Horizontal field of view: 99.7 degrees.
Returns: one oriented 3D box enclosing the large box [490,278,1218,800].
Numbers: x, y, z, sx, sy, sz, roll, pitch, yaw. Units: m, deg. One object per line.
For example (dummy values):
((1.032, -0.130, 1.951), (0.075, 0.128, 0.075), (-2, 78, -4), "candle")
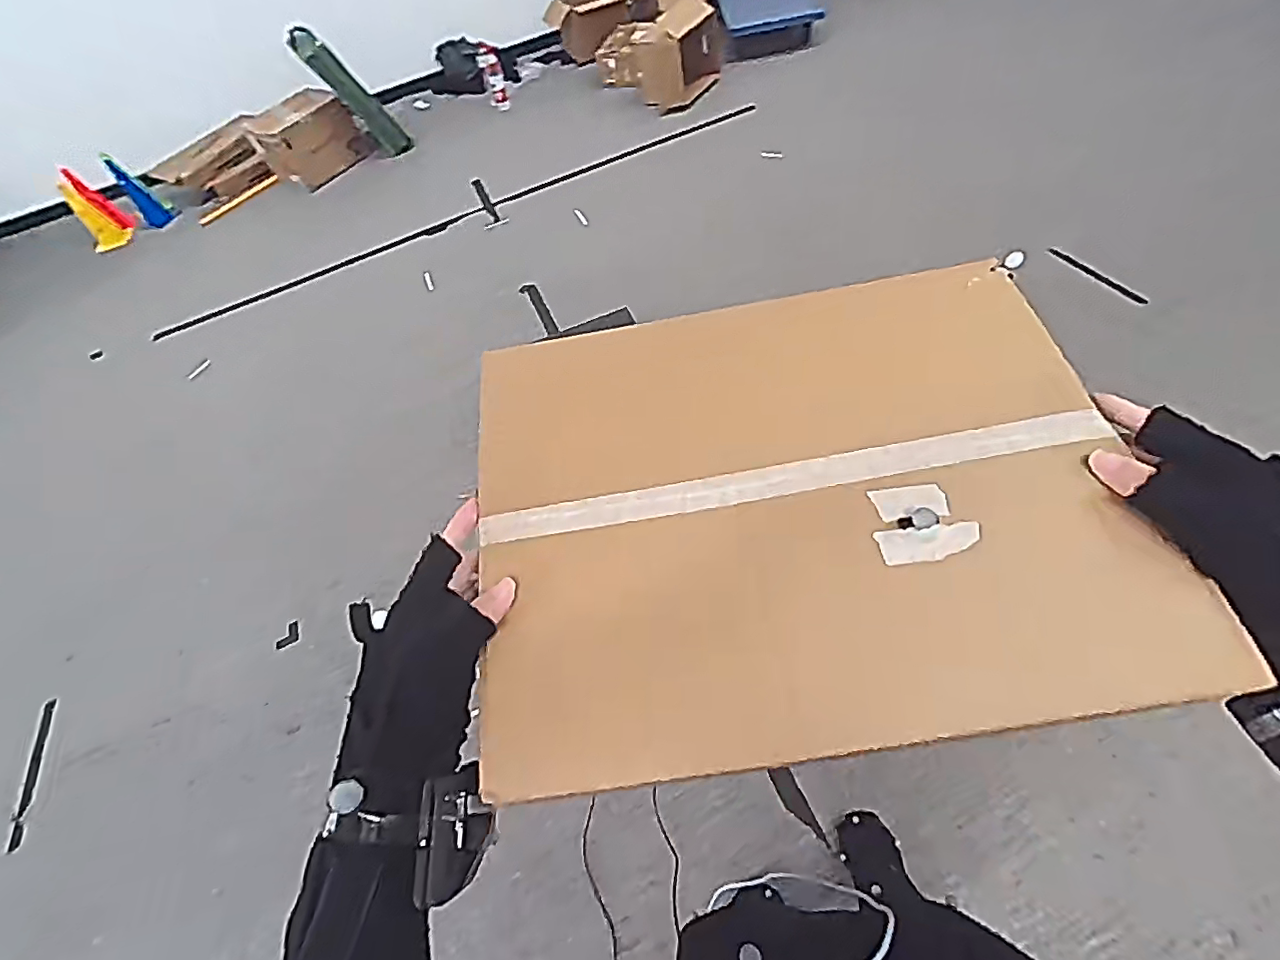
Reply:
((0.110, 0.076, 0.494), (0.408, 0.320, 0.320), (-10, 62, 1), "large box")
